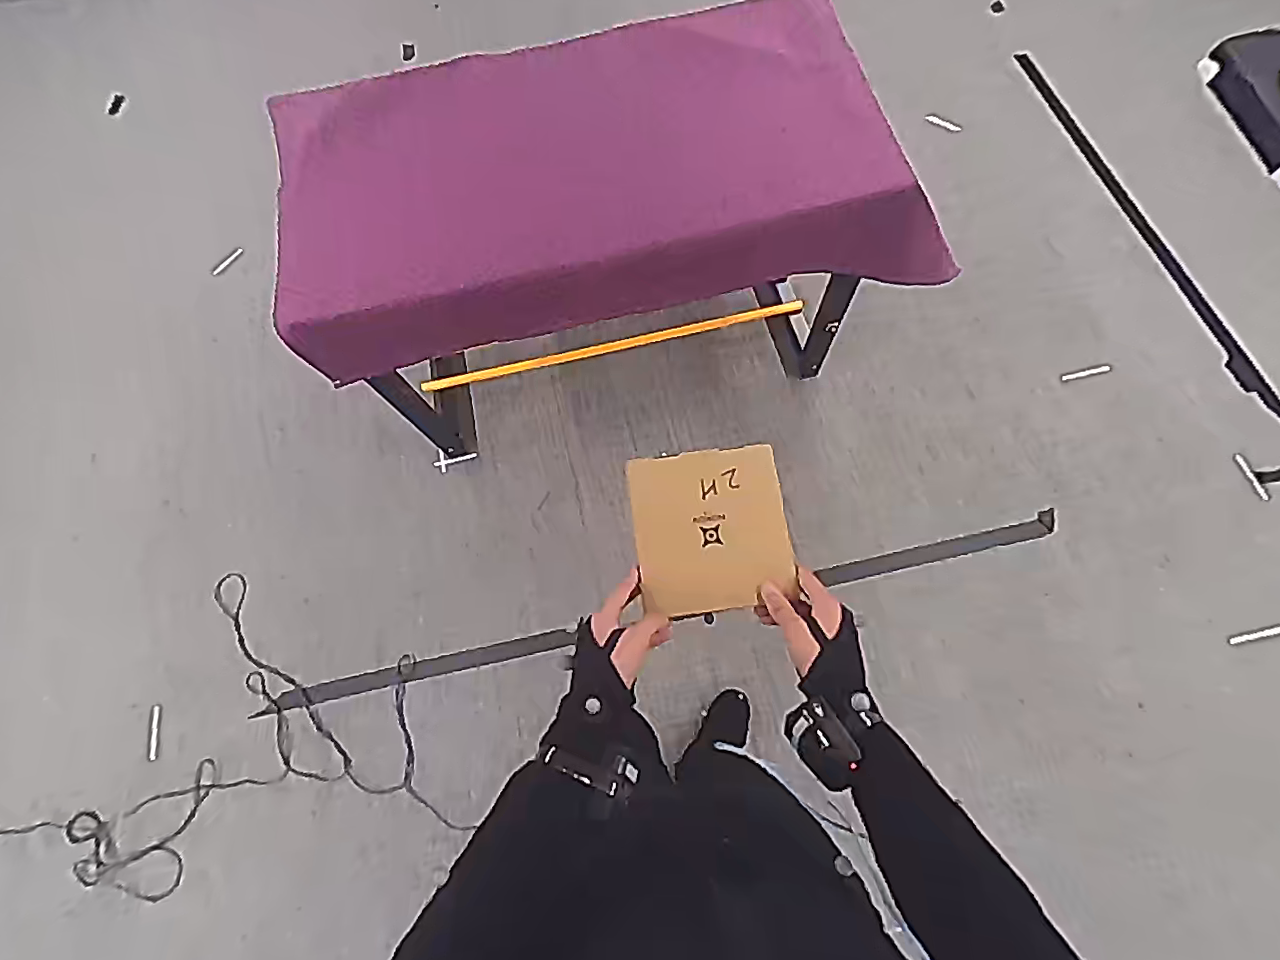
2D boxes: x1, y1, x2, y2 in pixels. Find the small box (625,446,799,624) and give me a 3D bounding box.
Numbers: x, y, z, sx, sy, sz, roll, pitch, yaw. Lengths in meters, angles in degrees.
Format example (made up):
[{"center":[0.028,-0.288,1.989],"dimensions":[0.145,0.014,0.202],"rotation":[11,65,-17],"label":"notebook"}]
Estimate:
[{"center":[0.075,0.072,0.651],"dimensions":[0.168,0.176,0.179],"rotation":[-7,76,-2],"label":"small box"}]
